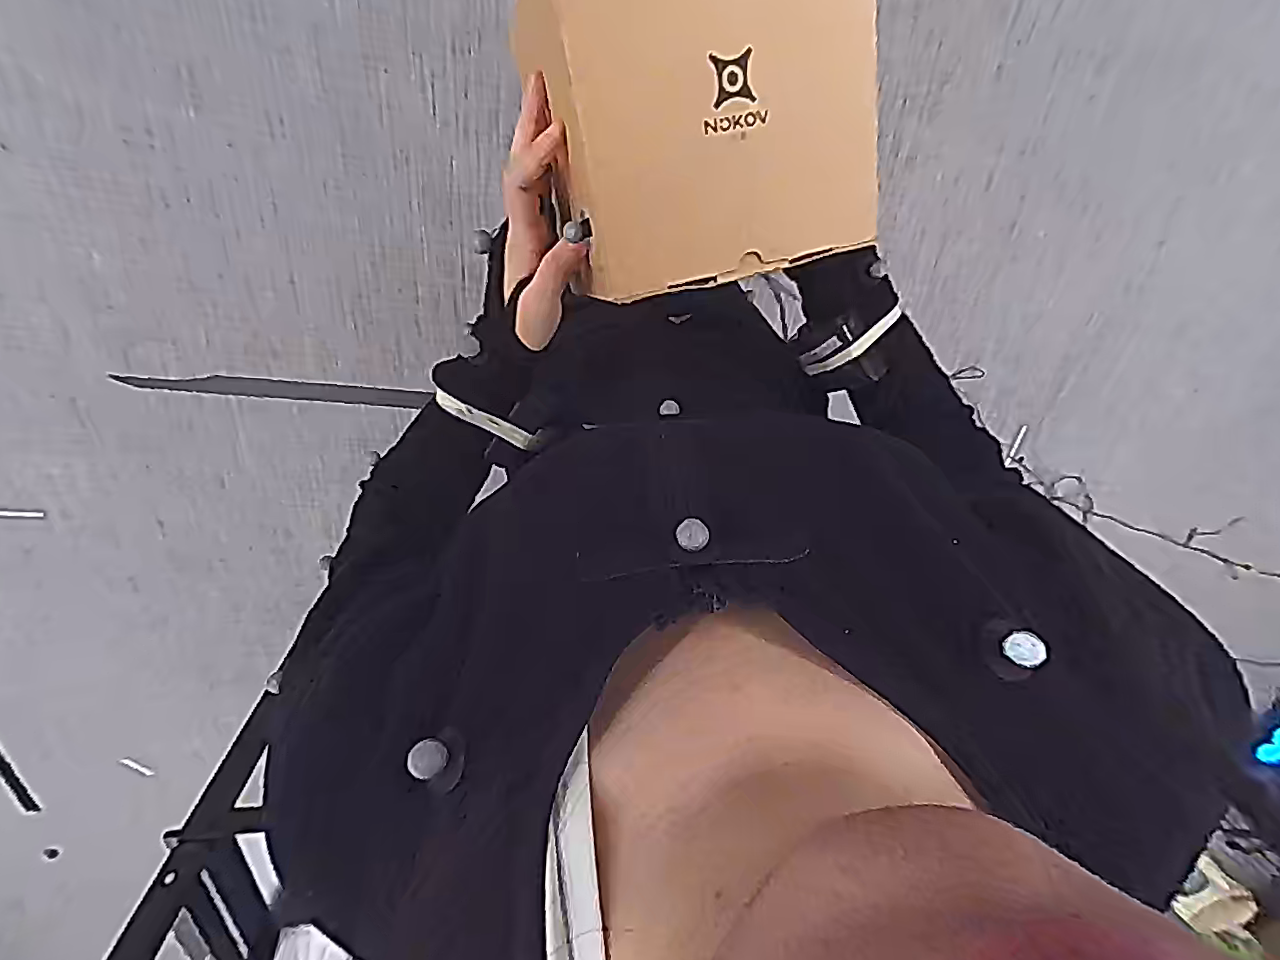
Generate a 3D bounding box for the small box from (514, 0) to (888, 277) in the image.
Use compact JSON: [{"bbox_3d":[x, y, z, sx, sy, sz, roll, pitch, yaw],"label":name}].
[{"bbox_3d":[0.026,-0.230,0.333,0.168,0.176,0.179,-17,114,-9],"label":"small box"}]
